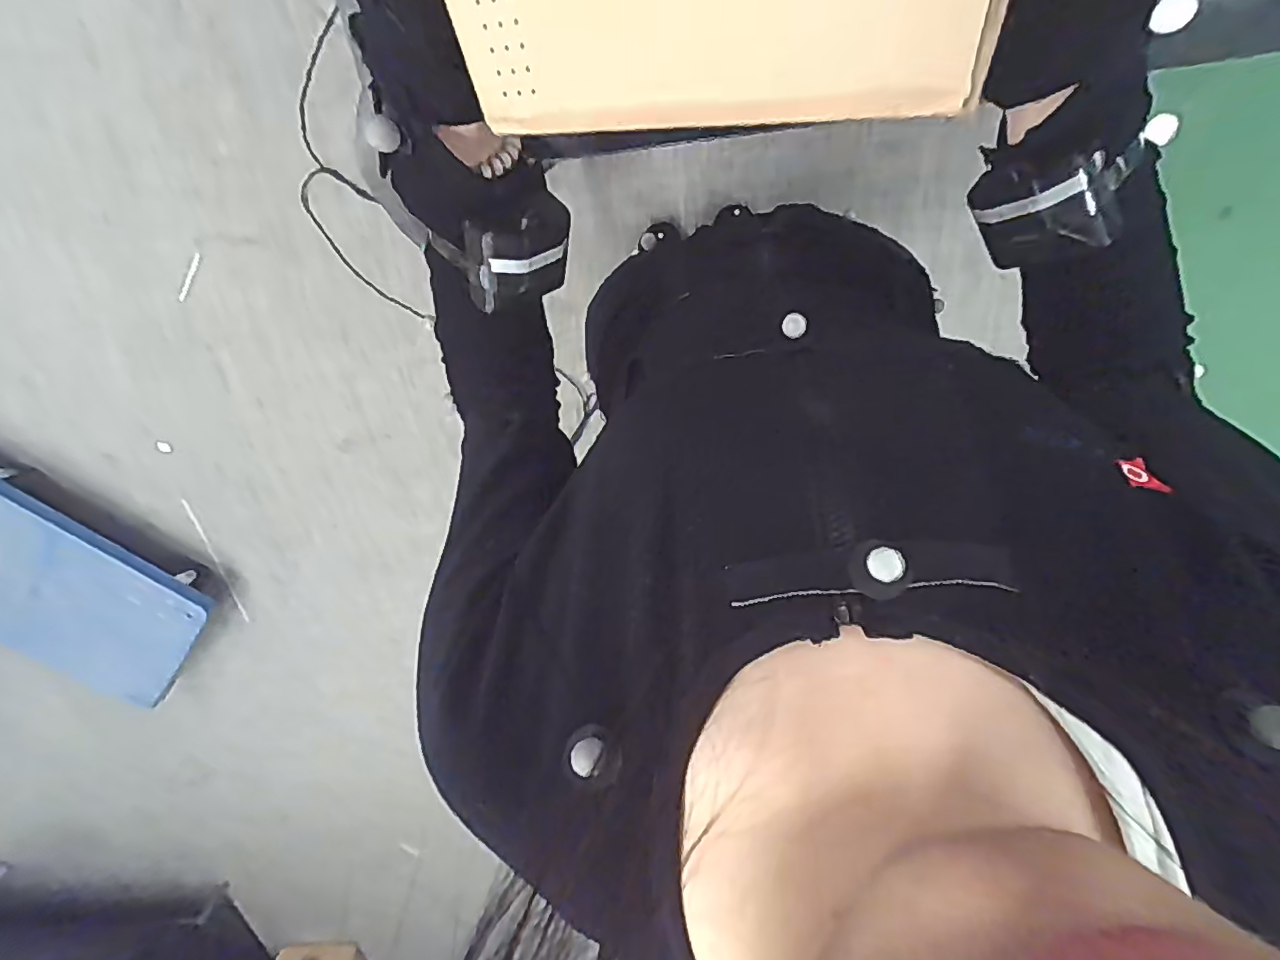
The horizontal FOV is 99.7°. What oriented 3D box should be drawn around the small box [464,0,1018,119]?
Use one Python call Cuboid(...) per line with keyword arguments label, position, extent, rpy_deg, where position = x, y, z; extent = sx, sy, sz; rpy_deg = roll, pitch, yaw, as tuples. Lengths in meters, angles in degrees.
Cuboid(label="small box", position=(0.036, -0.234, 0.157), extent=(0.176, 0.168, 0.179), rpy_deg=(15, 145, 25))
